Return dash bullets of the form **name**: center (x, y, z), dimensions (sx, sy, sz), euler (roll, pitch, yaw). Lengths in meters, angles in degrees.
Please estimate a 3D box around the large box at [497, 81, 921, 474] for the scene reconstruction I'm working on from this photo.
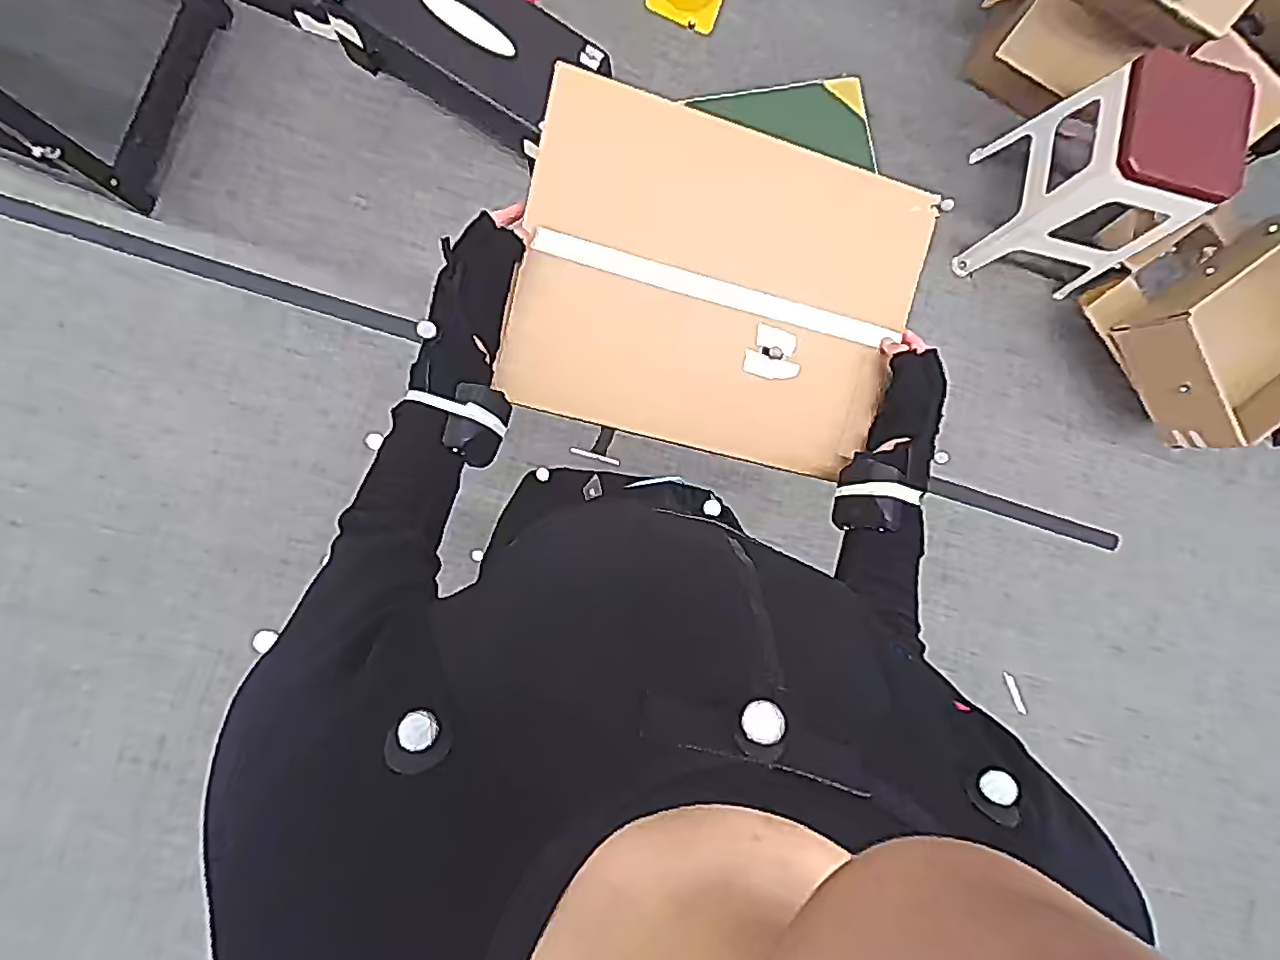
- **large box**: center (0.055, -0.213, 0.705), dimensions (0.408, 0.320, 0.320), euler (13, 97, -10)
